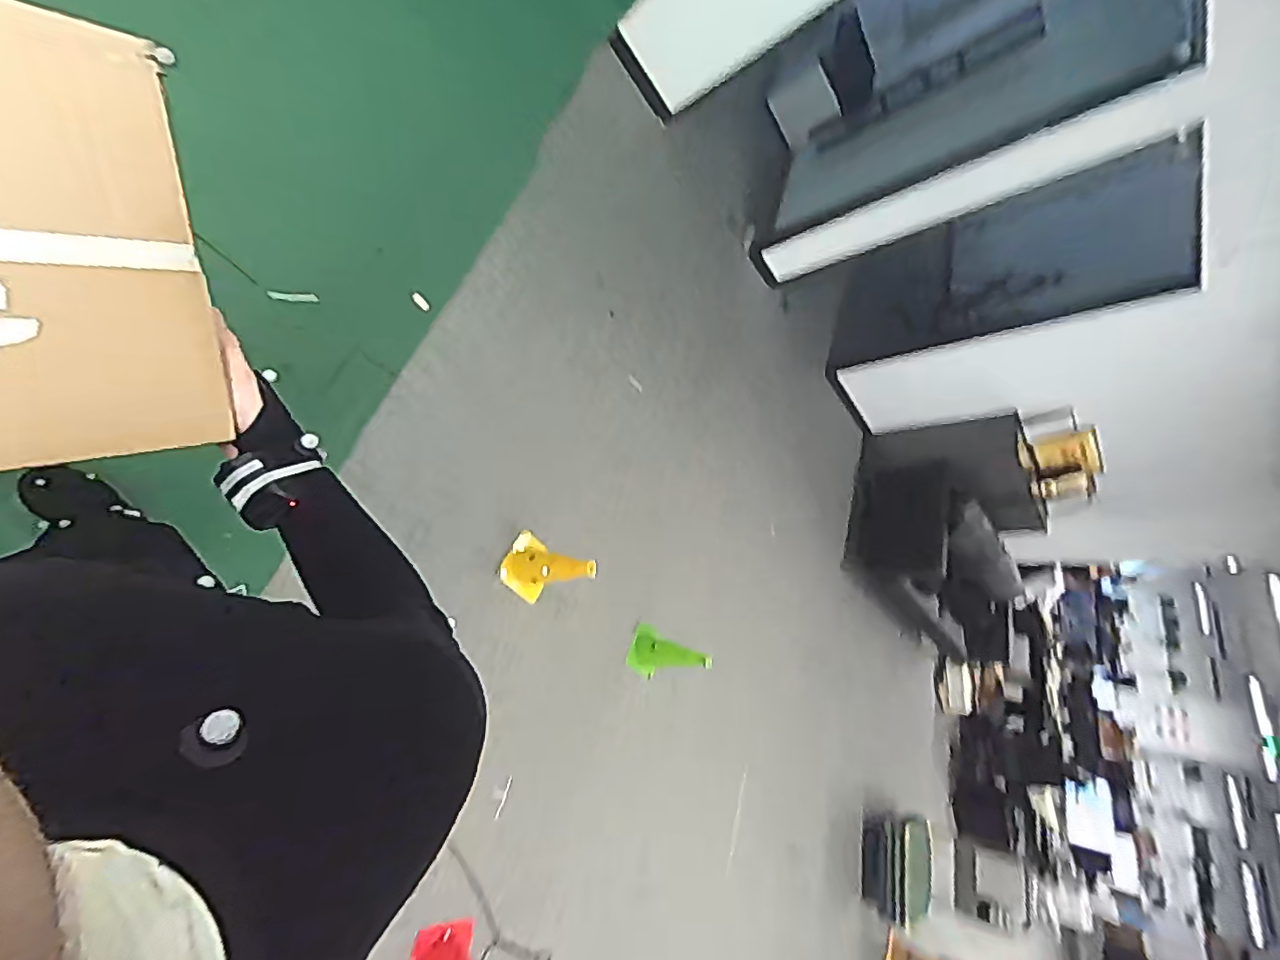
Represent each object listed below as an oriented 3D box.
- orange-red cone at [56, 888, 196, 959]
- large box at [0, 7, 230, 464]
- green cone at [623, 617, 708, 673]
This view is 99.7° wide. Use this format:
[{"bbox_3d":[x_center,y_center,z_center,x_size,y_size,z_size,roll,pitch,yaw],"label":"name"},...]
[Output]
[{"bbox_3d":[-0.986,0.990,1.037,0.198,0.360,0.199,47,55,-32],"label":"orange-red cone"},{"bbox_3d":[-0.623,-0.172,0.407,0.408,0.320,0.320,-18,114,-49],"label":"large box"},{"bbox_3d":[0.139,0.724,2.314,0.202,0.368,0.200,45,54,-33],"label":"green cone"}]
